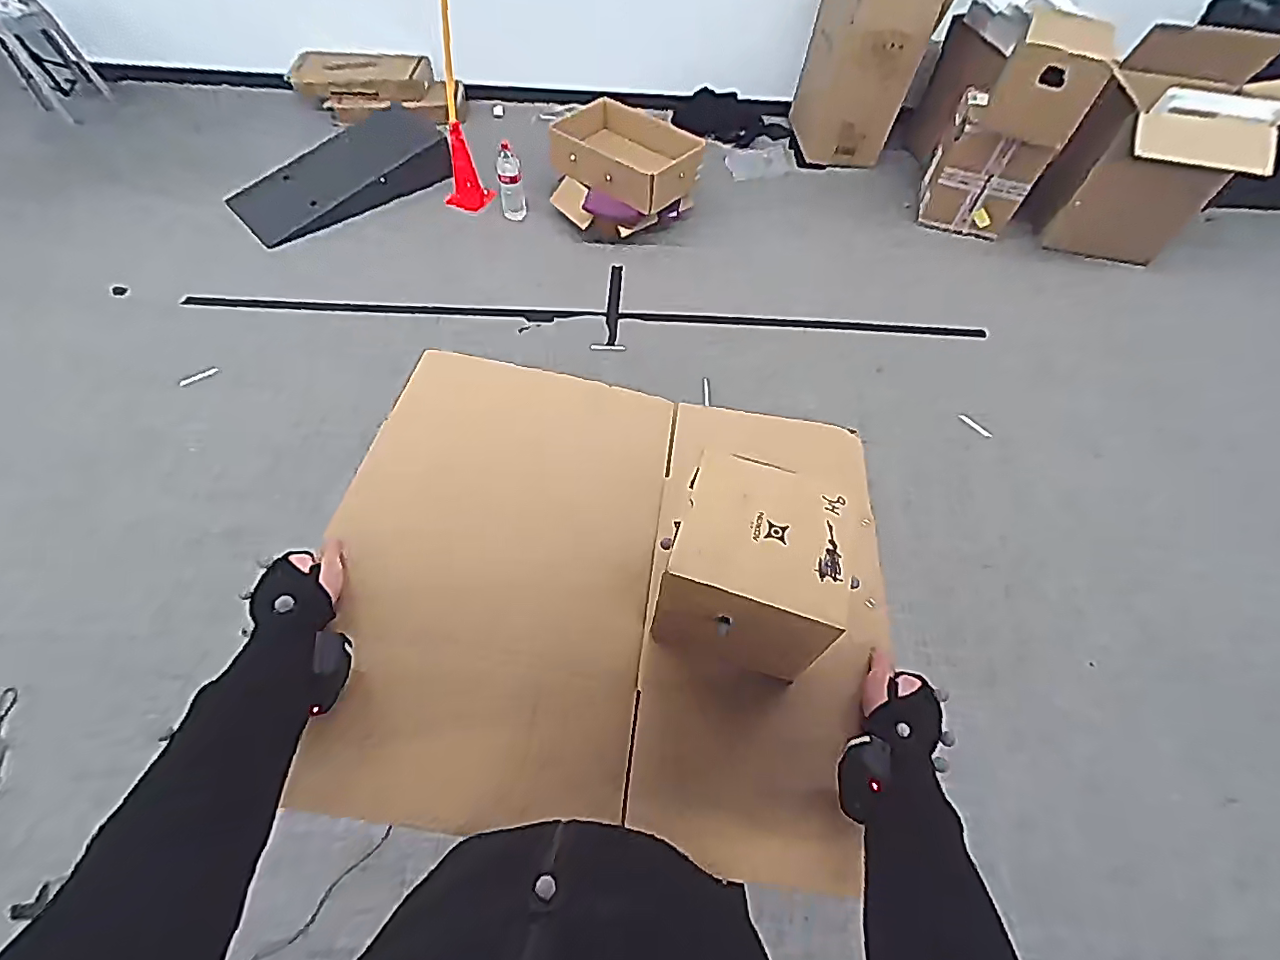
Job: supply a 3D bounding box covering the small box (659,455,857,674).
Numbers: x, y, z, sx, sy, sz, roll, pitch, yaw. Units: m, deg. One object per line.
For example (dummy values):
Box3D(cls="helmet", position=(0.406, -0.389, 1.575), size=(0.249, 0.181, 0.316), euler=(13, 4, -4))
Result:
Box3D(cls="small box", position=(0.127, 0.102, 0.620), size=(0.179, 0.176, 0.168), euler=(16, 55, 8))
